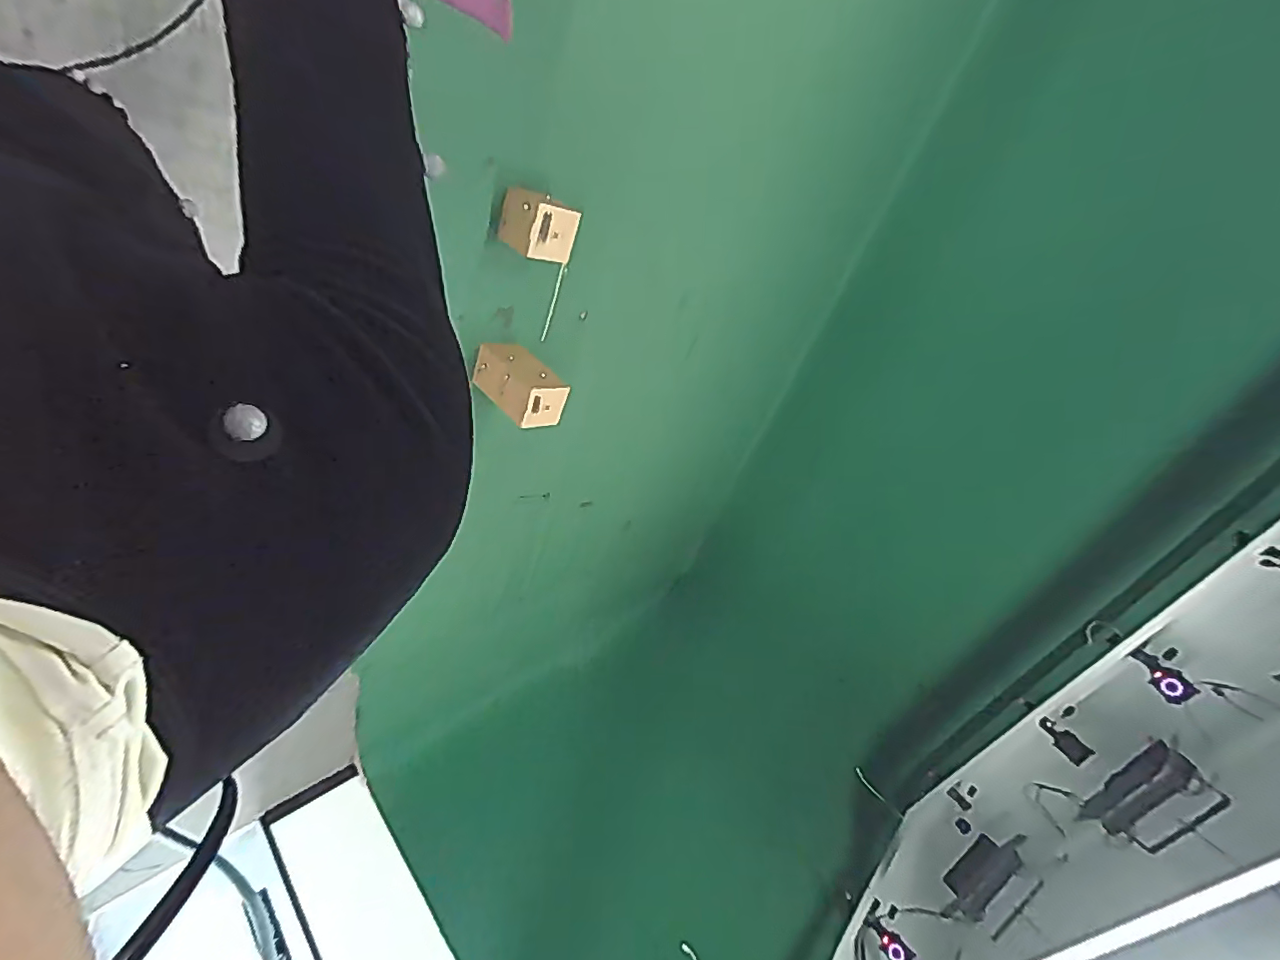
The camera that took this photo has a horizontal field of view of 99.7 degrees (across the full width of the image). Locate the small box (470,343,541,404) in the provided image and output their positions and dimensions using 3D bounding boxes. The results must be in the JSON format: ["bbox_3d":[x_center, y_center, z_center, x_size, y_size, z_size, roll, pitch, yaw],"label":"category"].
[{"bbox_3d":[-0.511,-0.406,2.047,0.179,0.176,0.168,-14,138,-47],"label":"small box"}]

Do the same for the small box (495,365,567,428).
[{"bbox_3d":[-0.402,-0.308,1.972,0.179,0.176,0.168,-14,138,-48],"label":"small box"}]
